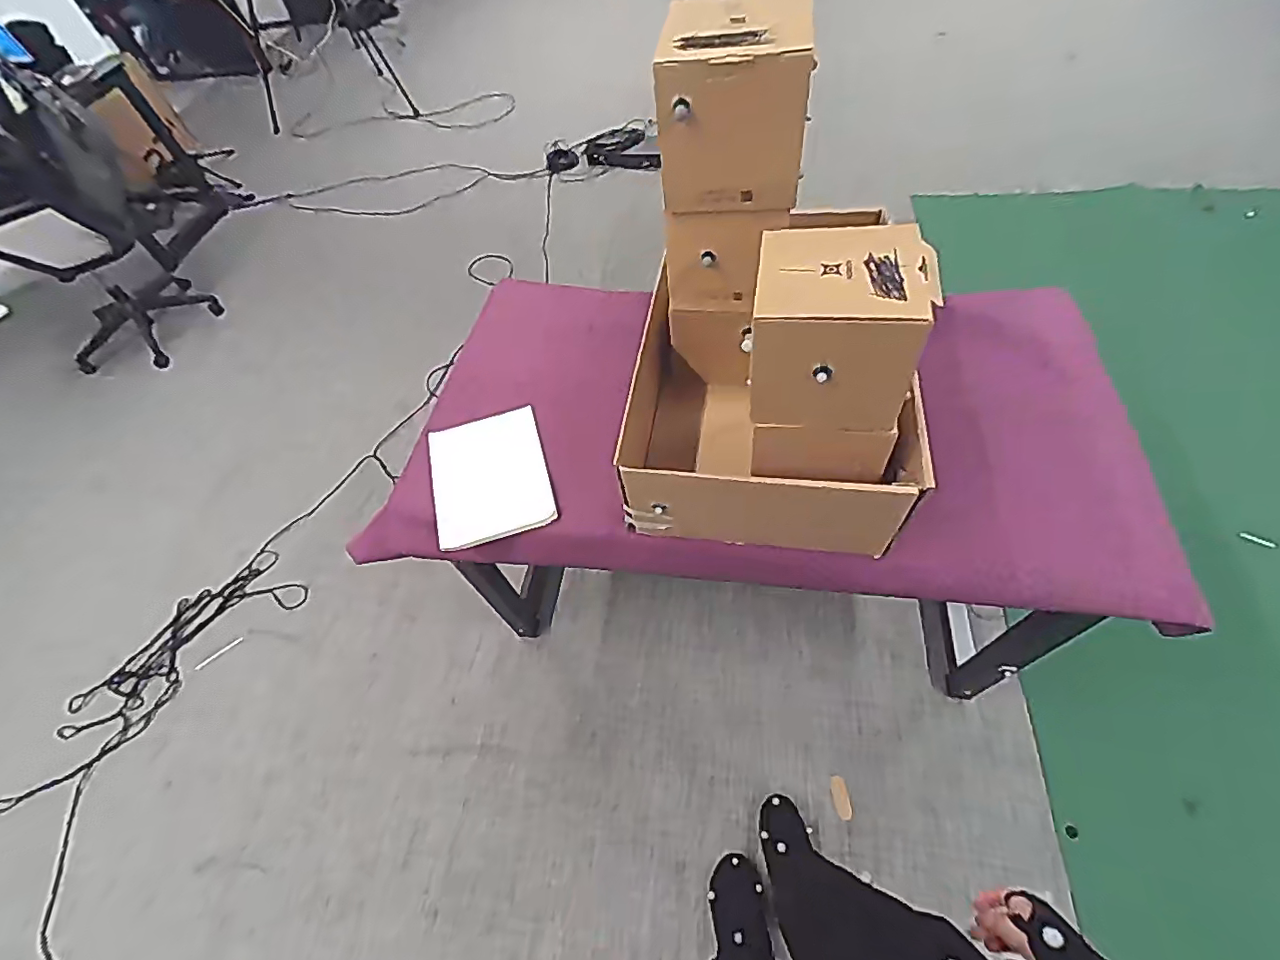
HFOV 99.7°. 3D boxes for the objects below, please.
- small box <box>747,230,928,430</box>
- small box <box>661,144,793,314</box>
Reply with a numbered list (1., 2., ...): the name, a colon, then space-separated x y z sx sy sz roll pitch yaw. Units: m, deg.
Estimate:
1. small box: 0.225 -0.176 0.653 0.179 0.176 0.168 4 55 14
2. small box: 0.133 -0.368 0.810 0.168 0.176 0.179 5 58 12
